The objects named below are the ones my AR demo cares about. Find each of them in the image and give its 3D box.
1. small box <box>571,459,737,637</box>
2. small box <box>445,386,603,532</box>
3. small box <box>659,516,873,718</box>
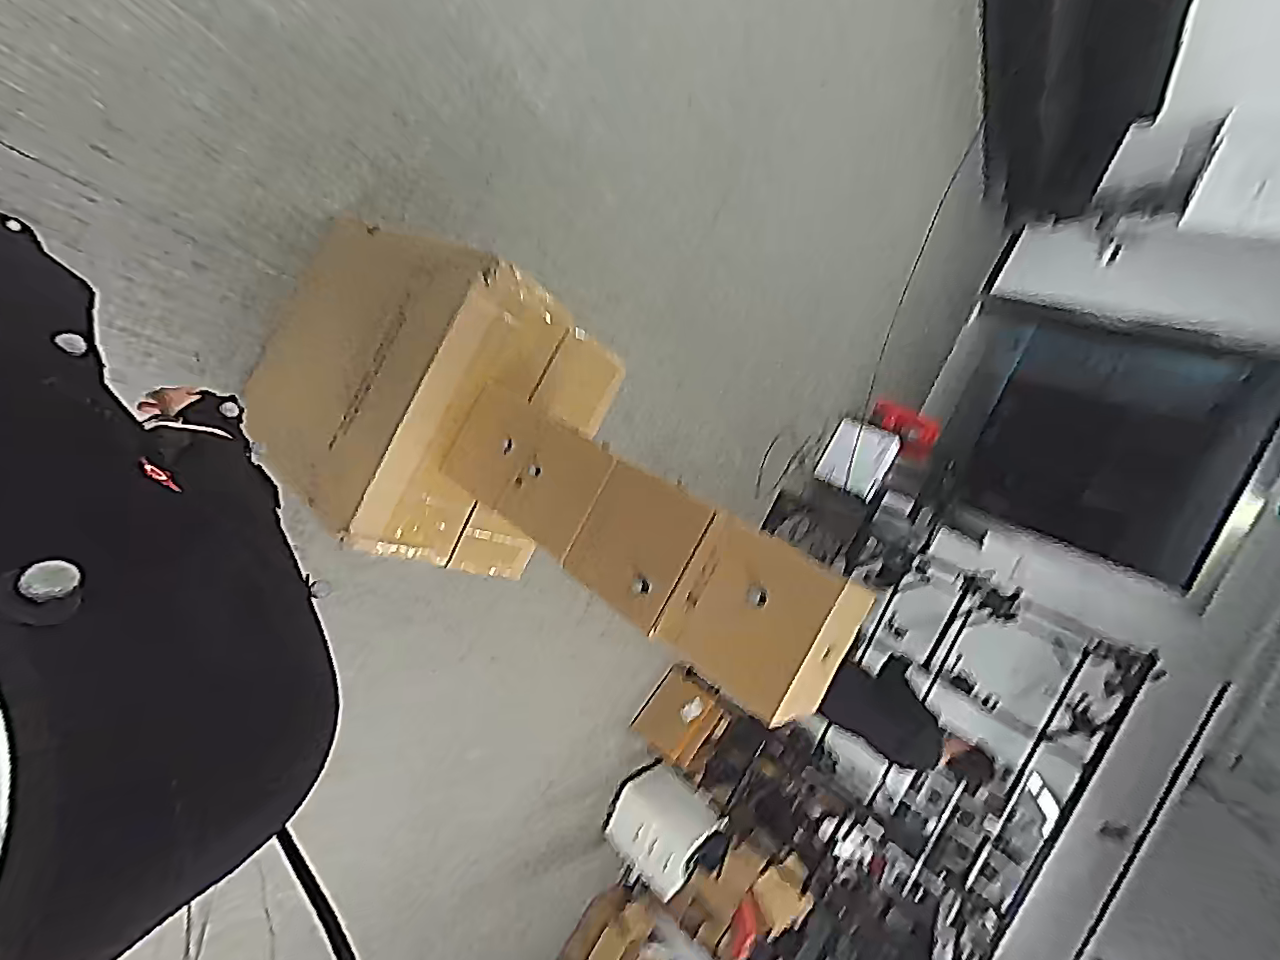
[{"bbox_3d":[0.031,0.097,0.746,0.168,0.176,0.179,29,90,-55],"label":"small box"},{"bbox_3d":[-0.202,-0.038,0.934,0.168,0.176,0.179,30,89,-55],"label":"small box"},{"bbox_3d":[0.152,0.159,0.656,0.179,0.176,0.168,26,92,-55],"label":"small box"}]
